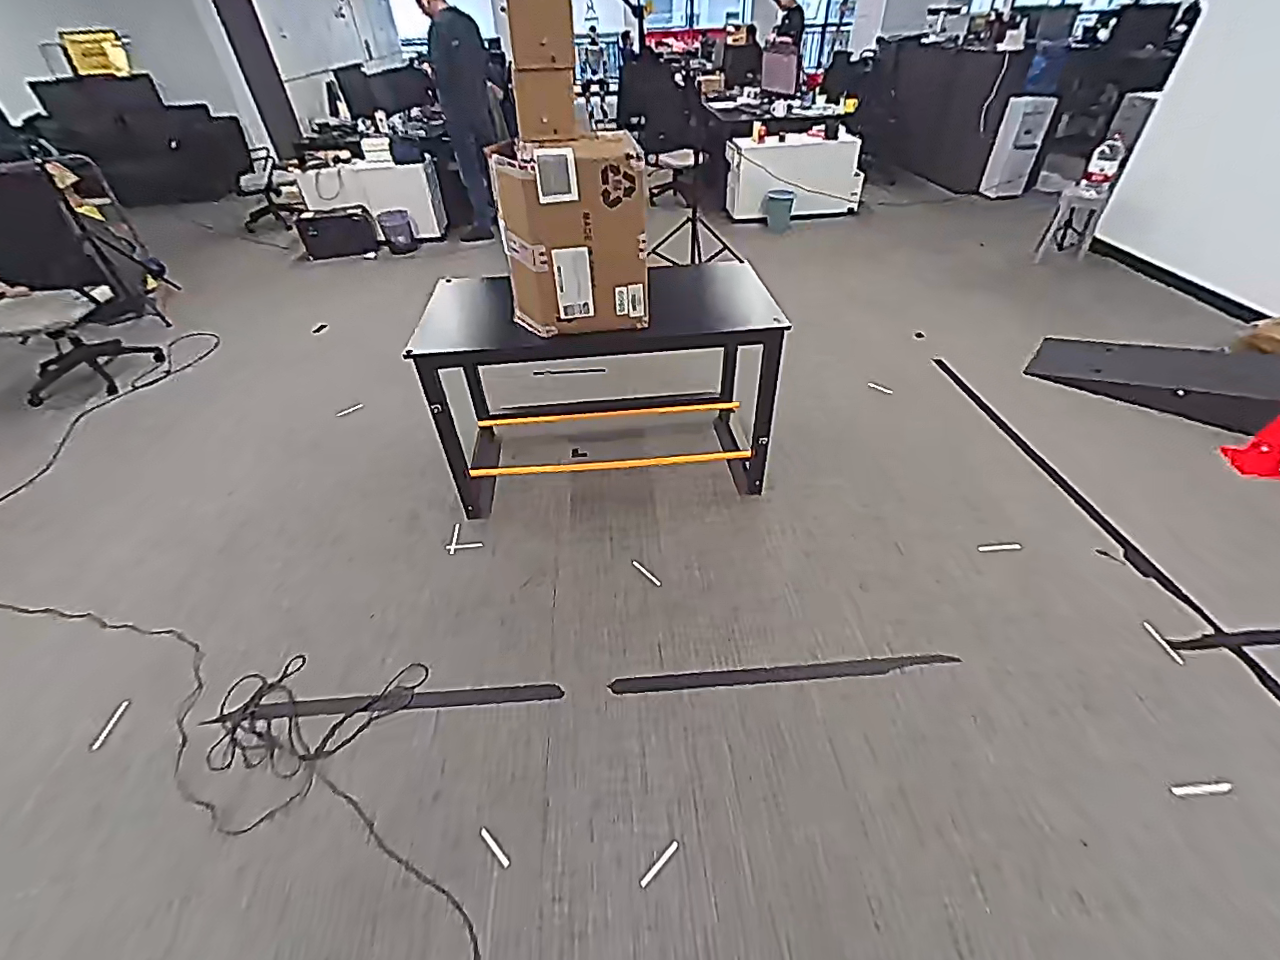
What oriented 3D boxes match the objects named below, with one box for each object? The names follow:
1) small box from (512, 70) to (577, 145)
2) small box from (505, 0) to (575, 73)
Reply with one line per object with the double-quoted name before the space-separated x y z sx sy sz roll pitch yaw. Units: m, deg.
"small box" -0.276 -1.084 1.570 0.168 0.176 0.179 -7 40 -7
"small box" -0.270 -1.208 1.461 0.168 0.176 0.179 -9 39 -9
